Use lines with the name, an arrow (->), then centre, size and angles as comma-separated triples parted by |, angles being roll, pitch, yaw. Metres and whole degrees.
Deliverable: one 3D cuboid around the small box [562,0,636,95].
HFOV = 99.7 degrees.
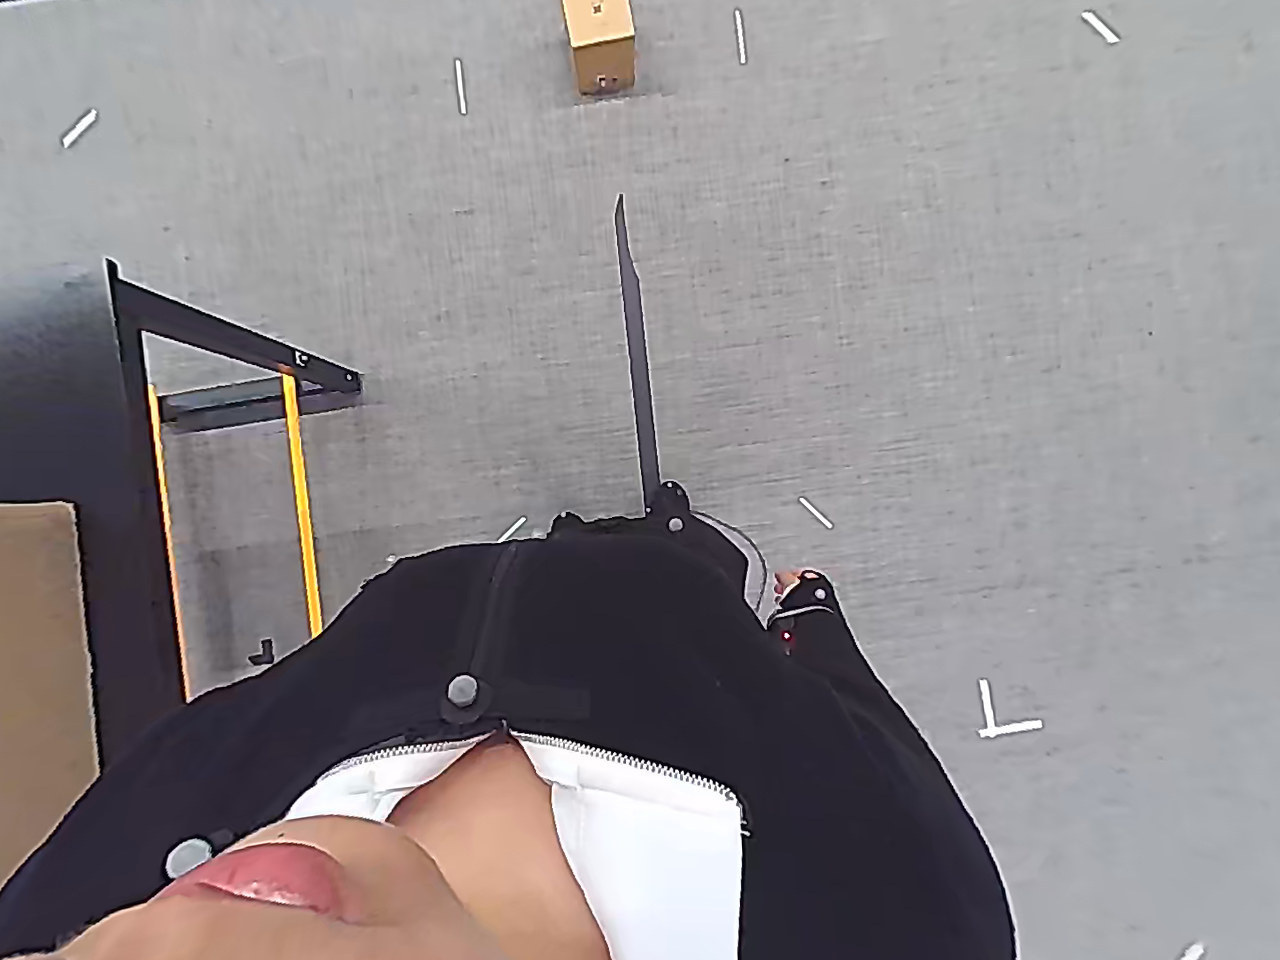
small box -> -0.107, -1.180, 1.440 | 0.168, 0.176, 0.179 | -12, 90, 1
